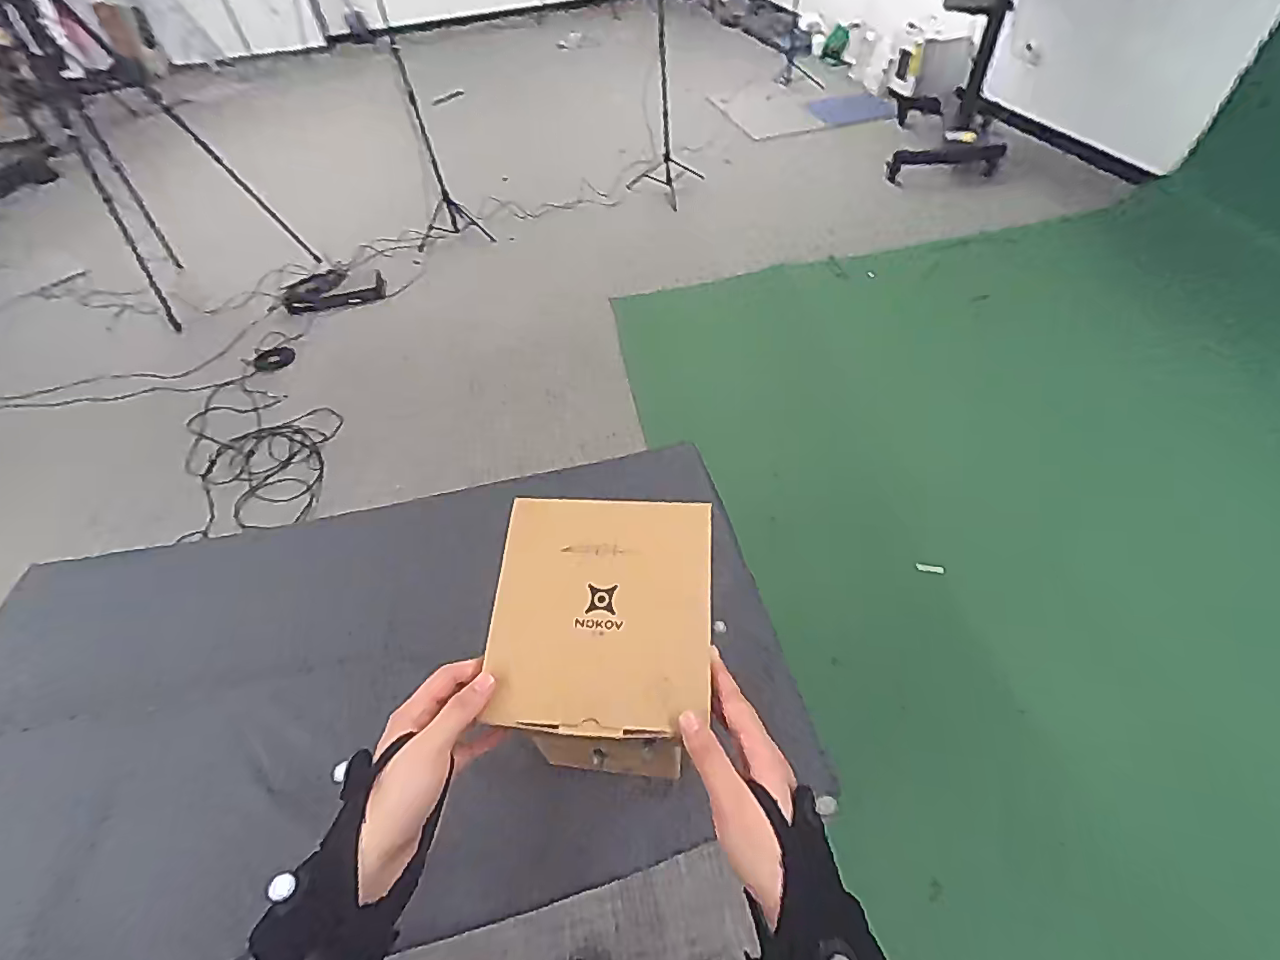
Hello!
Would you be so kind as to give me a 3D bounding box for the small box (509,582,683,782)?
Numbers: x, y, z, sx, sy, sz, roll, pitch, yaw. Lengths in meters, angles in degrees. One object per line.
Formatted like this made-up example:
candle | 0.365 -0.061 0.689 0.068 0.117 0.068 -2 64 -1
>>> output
small box | -0.037 0.246 0.654 0.168 0.176 0.179 2 48 8
